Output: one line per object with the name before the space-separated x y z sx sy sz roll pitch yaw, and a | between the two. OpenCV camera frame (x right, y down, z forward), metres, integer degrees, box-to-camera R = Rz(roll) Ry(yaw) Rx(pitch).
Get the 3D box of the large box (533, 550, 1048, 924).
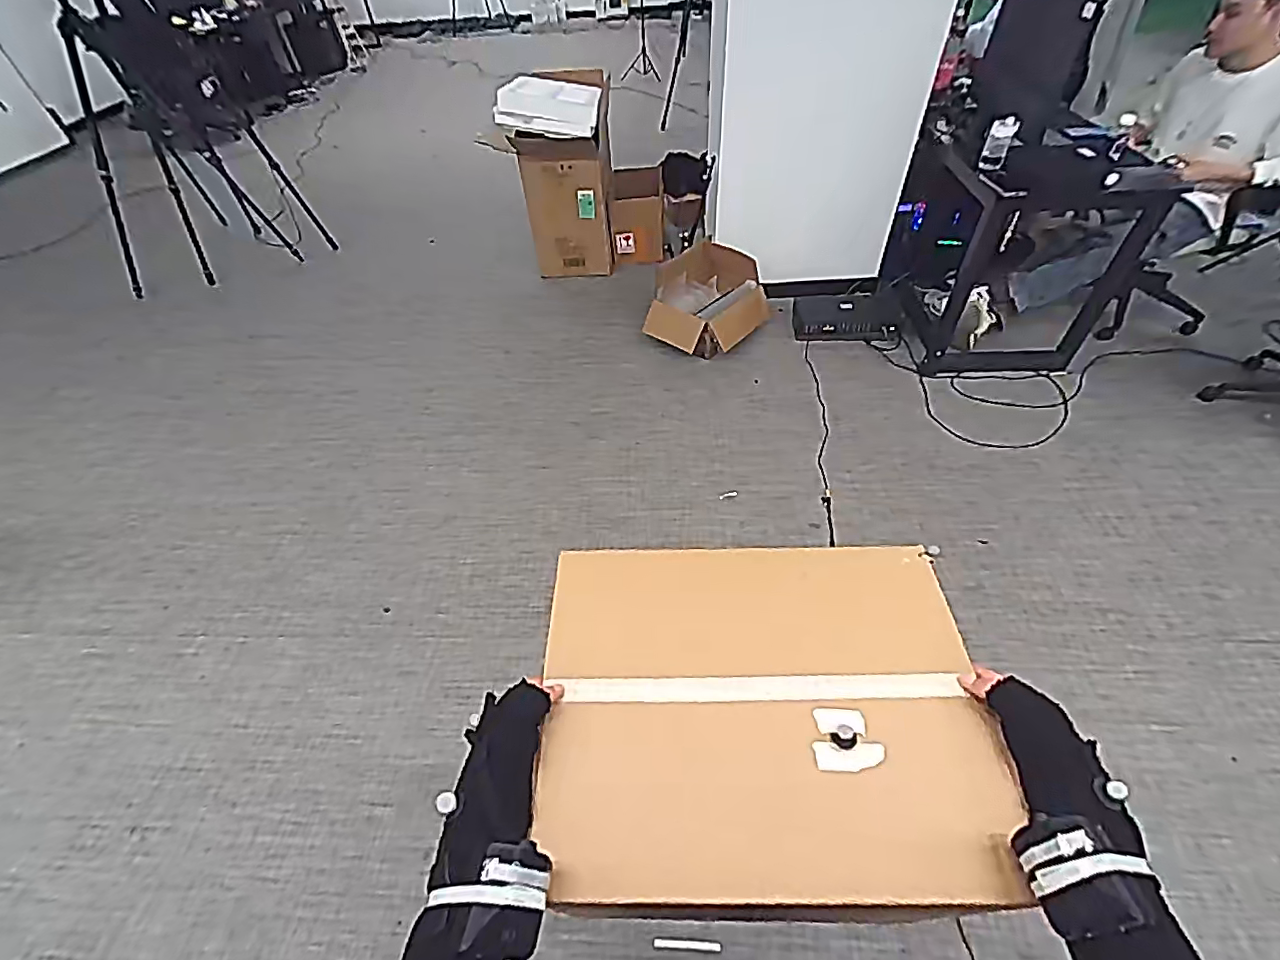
large box | 0.115 0.298 0.619 0.408 0.320 0.320 -1 49 1
